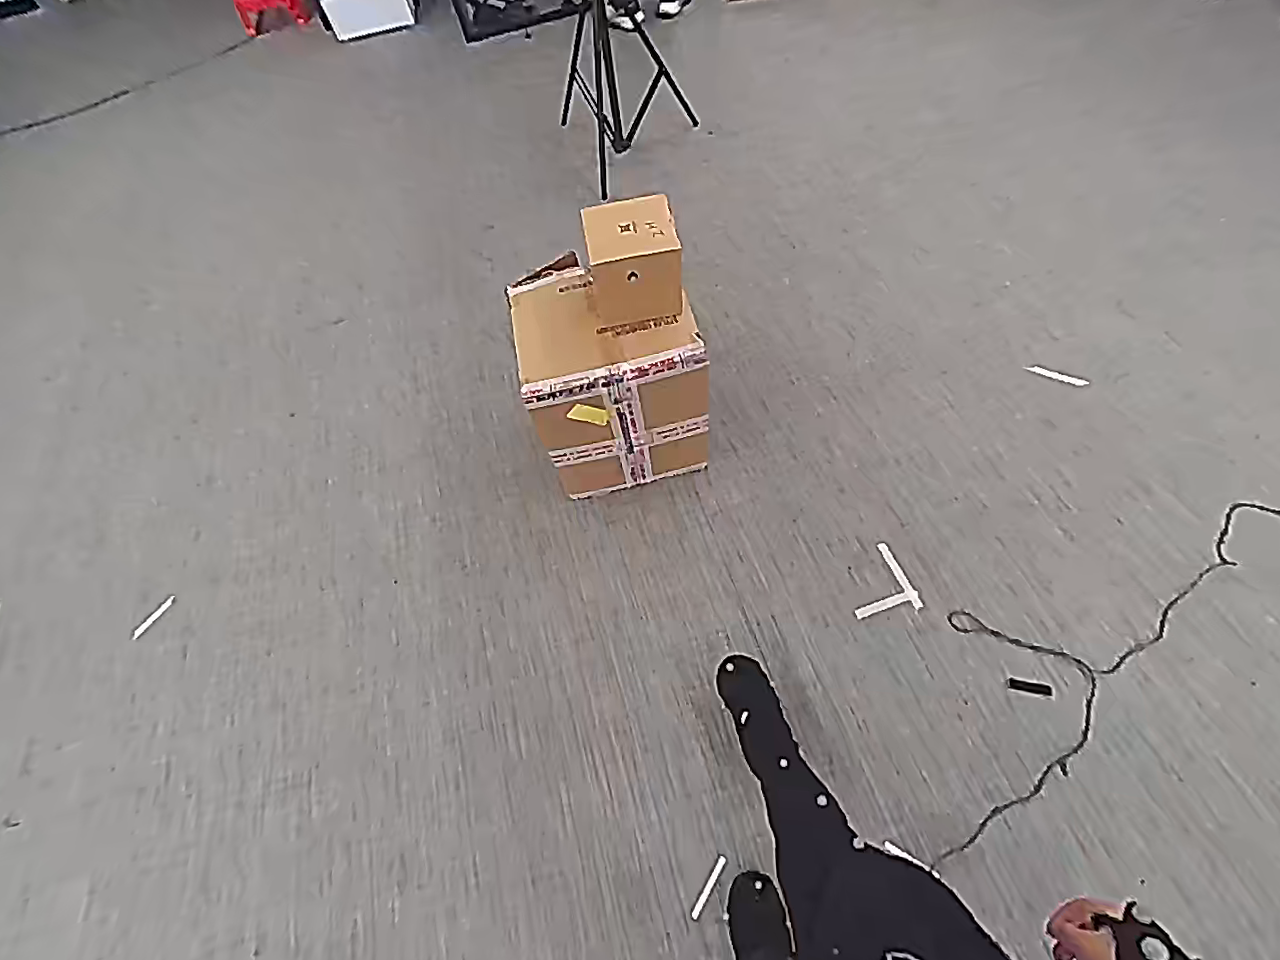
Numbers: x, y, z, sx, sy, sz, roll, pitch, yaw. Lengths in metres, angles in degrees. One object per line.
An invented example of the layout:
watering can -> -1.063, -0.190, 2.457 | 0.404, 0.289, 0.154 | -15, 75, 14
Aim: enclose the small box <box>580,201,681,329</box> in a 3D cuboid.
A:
small box -> -0.015, -0.433, 1.111 | 0.179, 0.176, 0.168 | -11, 63, 0
